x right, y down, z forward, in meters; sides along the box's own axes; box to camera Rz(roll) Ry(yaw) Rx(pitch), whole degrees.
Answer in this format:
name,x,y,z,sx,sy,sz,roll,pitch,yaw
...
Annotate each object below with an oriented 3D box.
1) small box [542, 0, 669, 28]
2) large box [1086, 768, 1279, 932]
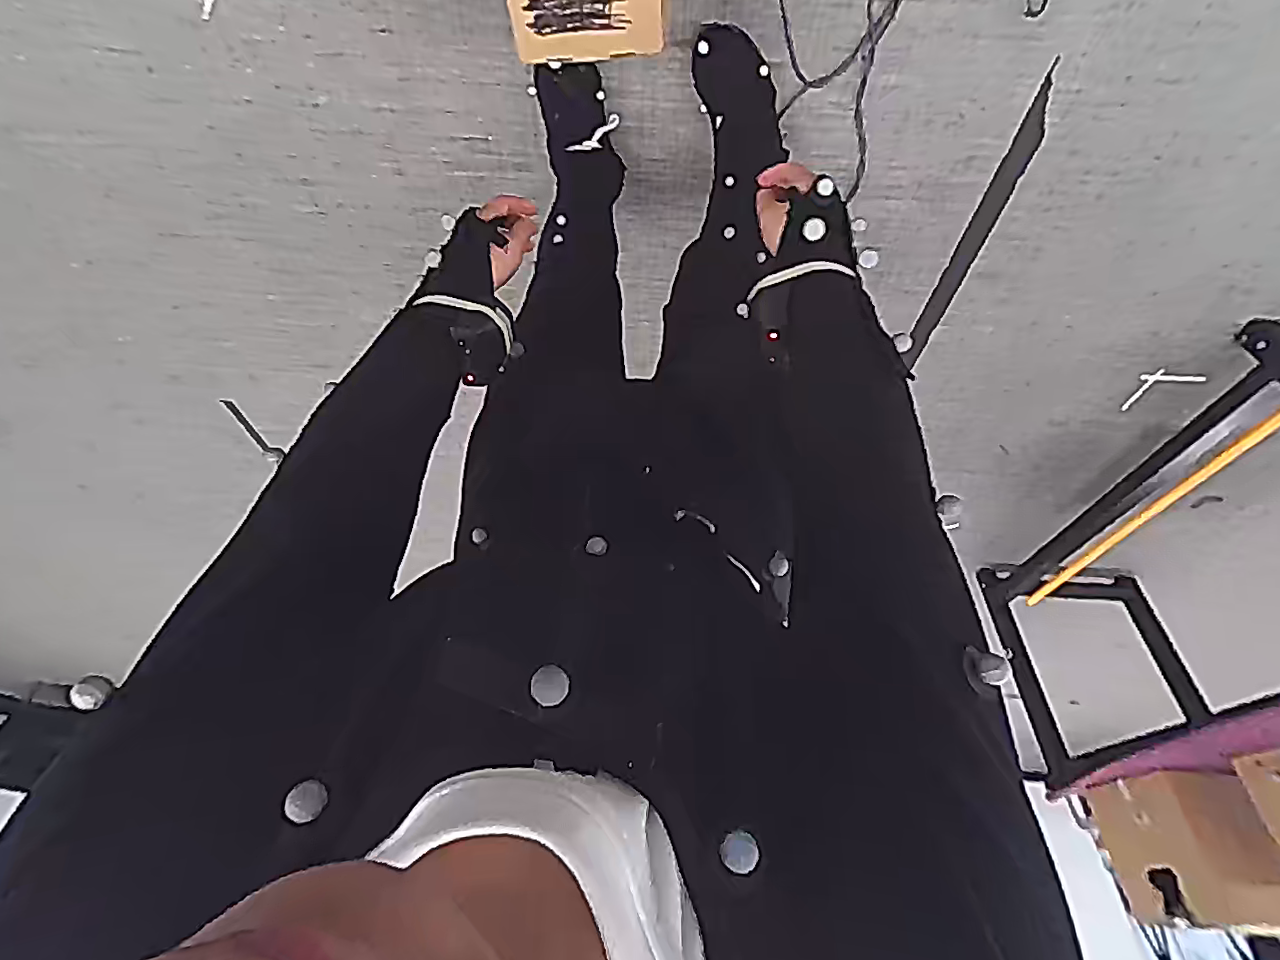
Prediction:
name,x,y,z,sx,sy,sz,roll,pitch,yaw
small box,-0.039,-0.716,0.694,0.168,0.176,0.179,3,142,2
large box,1.489,0.938,1.370,0.408,0.320,0.320,2,143,1
